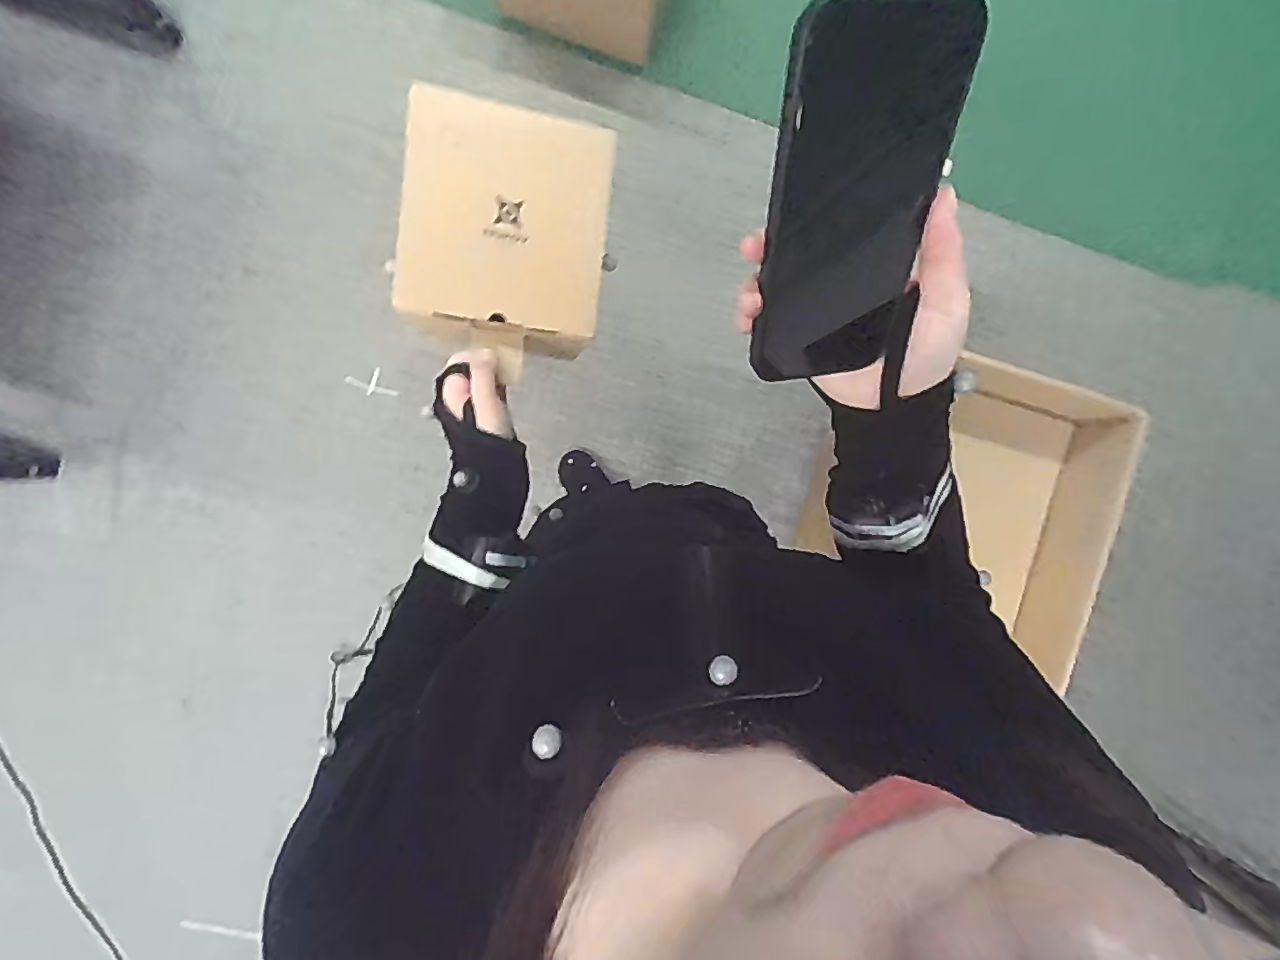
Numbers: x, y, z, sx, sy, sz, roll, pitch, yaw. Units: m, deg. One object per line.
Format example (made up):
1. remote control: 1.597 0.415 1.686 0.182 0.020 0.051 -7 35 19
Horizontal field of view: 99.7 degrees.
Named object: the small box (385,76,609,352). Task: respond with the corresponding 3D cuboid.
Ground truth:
1. small box: -0.133 -0.229 0.520 0.168 0.176 0.179 6 97 -13
